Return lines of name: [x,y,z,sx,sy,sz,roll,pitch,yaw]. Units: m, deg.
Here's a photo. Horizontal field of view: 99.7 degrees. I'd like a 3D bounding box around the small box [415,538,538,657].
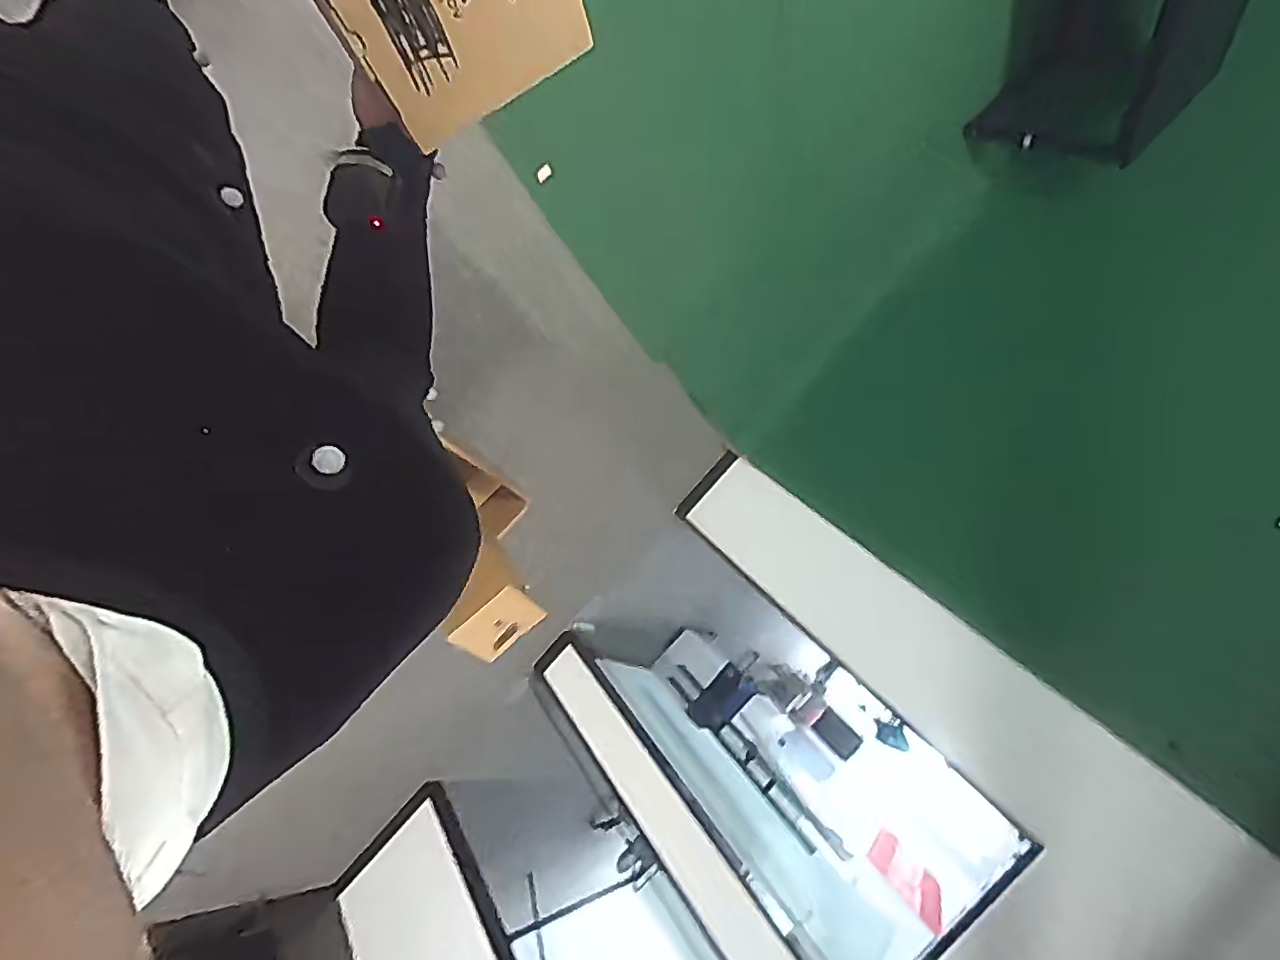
small box: [-0.366,0.259,1.213,0.168,0.176,0.179,-41,142,-9]
